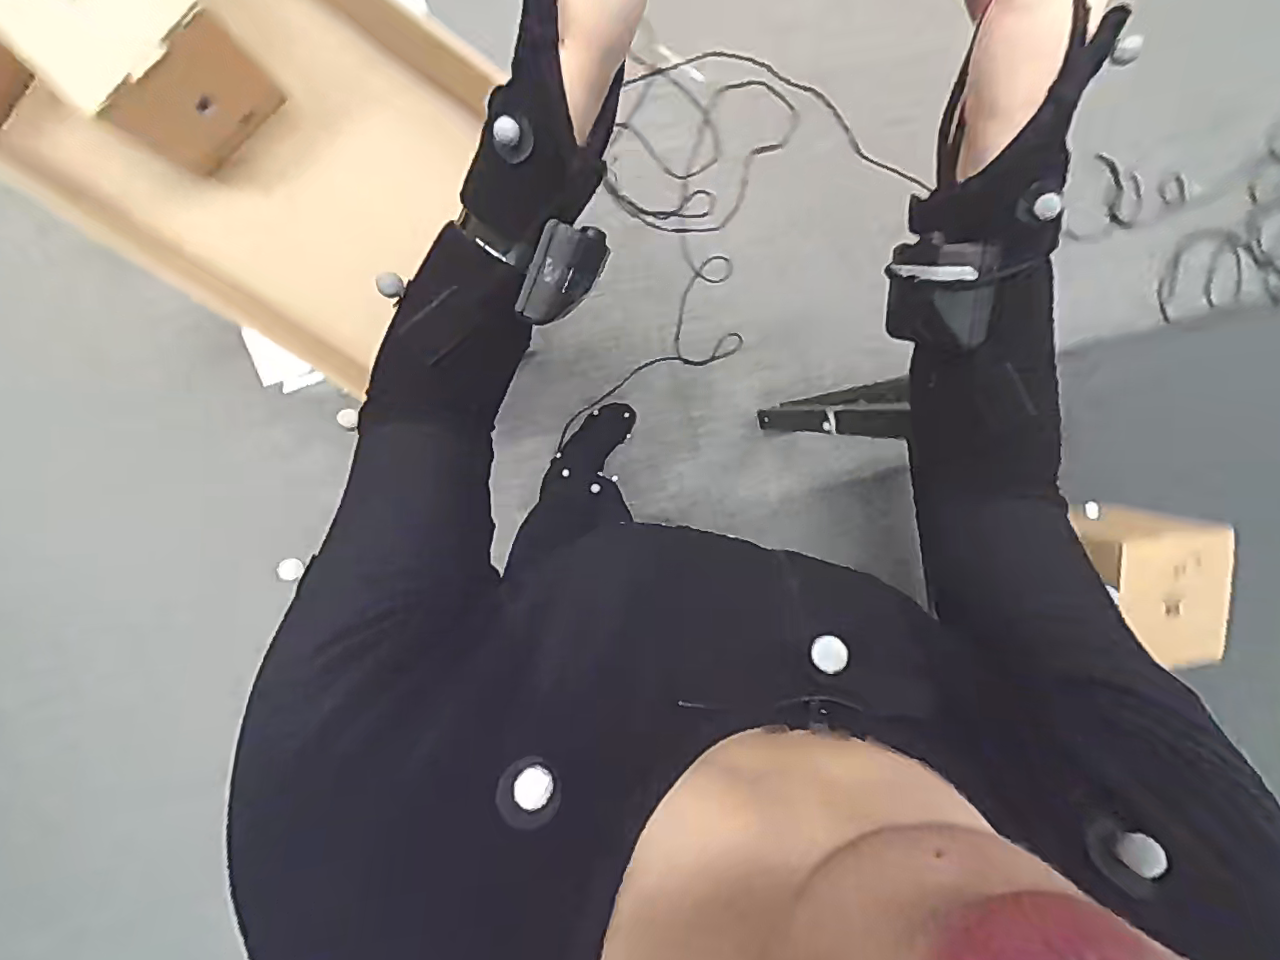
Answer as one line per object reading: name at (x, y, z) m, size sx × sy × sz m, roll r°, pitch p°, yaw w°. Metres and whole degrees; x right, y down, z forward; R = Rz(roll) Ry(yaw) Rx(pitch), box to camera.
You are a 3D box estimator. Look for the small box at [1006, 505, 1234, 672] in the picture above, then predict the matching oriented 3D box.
small box at (0.645, 0.139, 0.749) m, size 0.168 × 0.176 × 0.179 m, roll -4°, pitch 98°, yaw -8°
